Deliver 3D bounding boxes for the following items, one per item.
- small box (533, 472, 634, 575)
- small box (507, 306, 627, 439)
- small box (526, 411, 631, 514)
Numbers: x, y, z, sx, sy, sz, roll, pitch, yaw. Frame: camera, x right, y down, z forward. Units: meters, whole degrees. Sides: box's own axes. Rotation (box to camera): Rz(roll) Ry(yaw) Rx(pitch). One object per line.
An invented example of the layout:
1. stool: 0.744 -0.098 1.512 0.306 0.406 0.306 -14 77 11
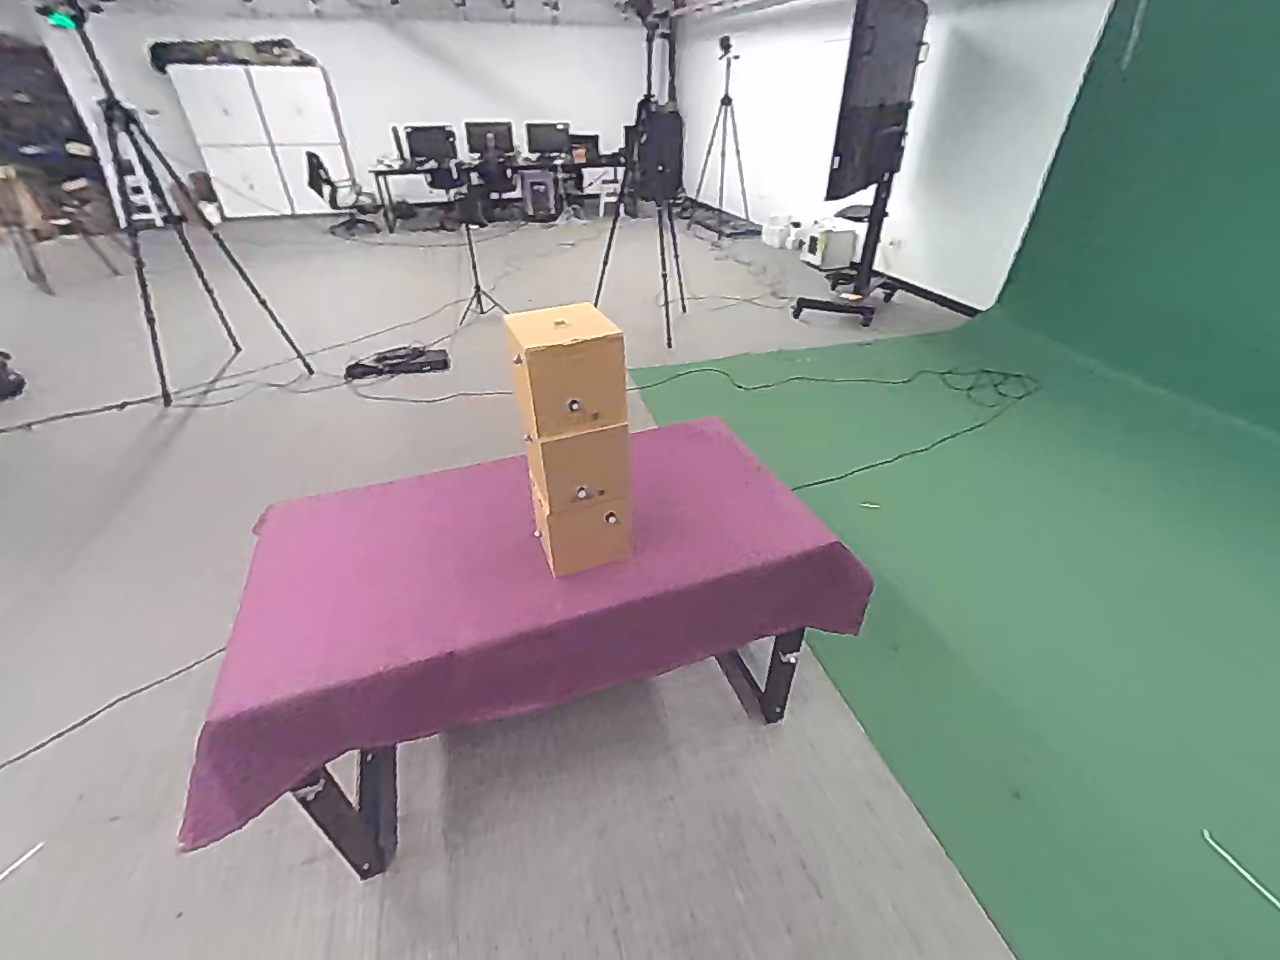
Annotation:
1. small box: -0.119 0.075 1.149 0.179 0.176 0.168 -13 37 -16
2. small box: -0.130 -0.194 0.966 0.168 0.176 0.179 -15 39 -18
3. small box: -0.123 -0.060 1.057 0.168 0.176 0.179 -14 38 -16
